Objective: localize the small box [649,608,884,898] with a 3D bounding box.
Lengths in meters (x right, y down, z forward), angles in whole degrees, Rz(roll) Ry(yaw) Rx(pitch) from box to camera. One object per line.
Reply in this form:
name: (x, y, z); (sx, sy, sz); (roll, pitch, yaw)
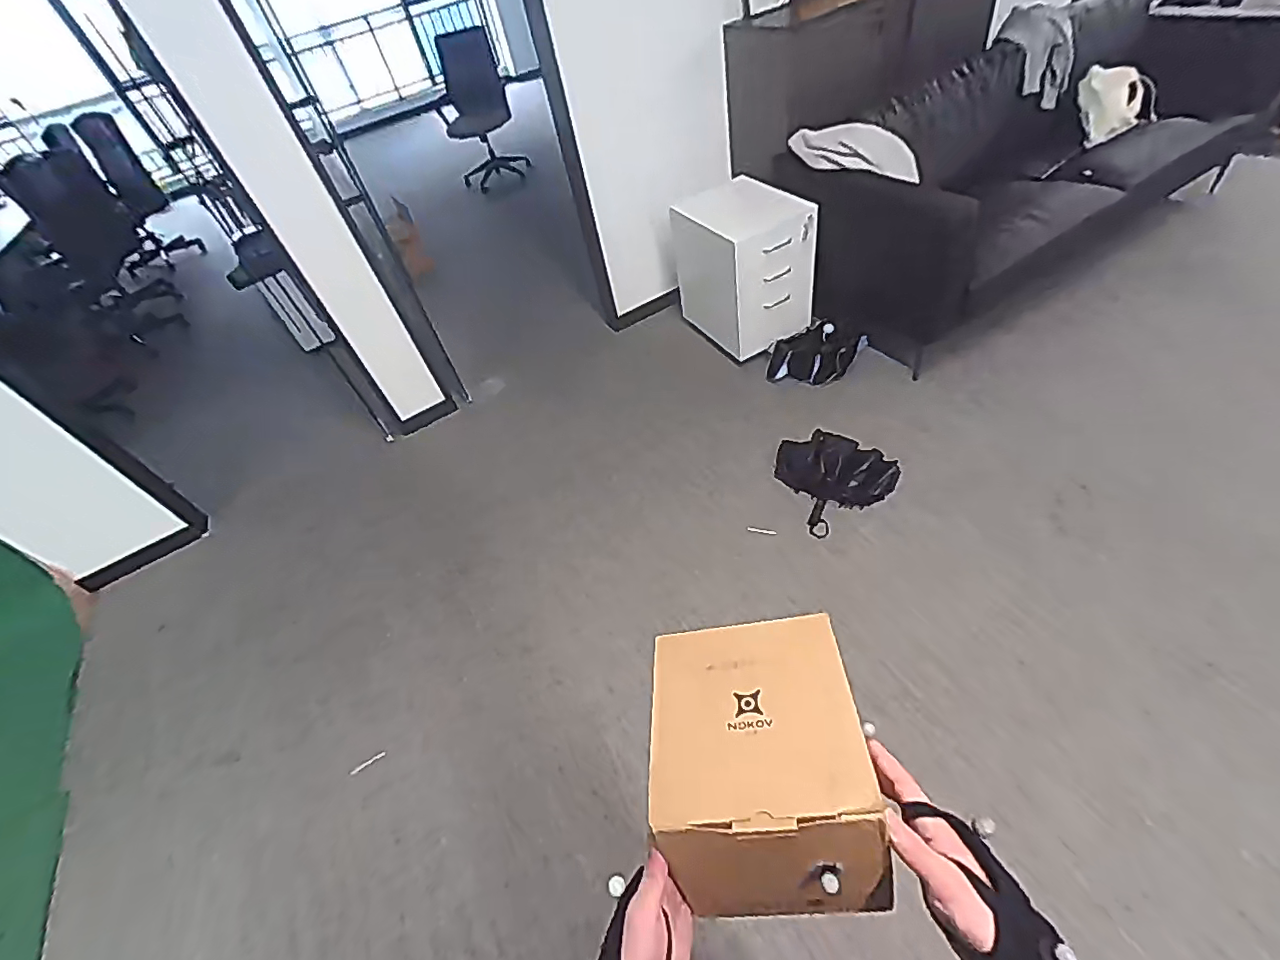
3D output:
small box: (0.110, 0.246, 0.484); (0.168, 0.176, 0.179); (-10, 32, 10)
